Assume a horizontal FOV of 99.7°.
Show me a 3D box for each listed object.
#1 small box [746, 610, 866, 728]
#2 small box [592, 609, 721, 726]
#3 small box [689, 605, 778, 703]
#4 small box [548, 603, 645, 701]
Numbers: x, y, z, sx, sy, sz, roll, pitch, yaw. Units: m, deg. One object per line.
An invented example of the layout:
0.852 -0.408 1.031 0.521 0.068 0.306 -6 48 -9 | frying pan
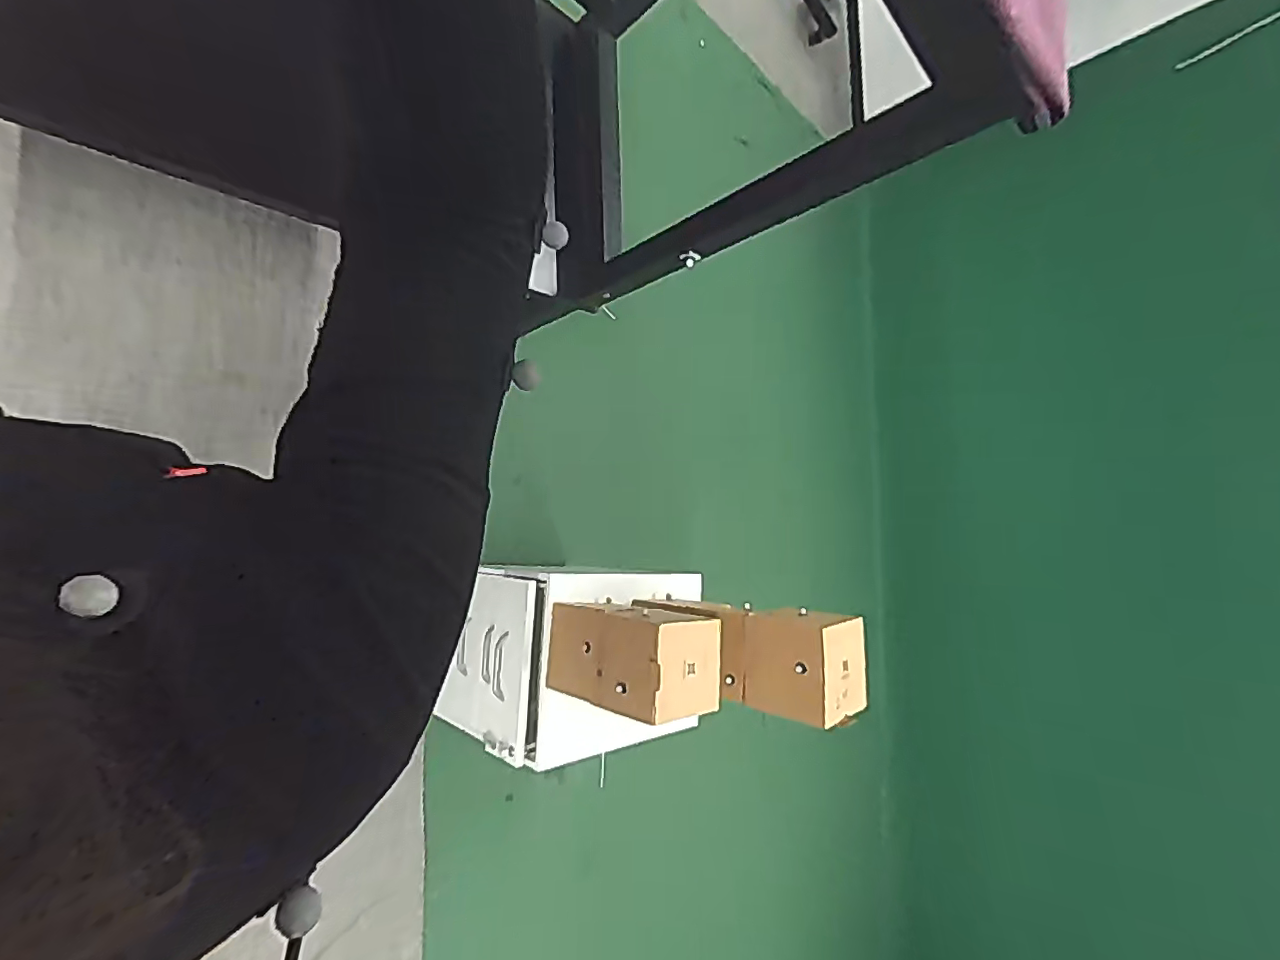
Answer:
0.319 0.351 1.048 0.168 0.176 0.179 4 84 -44 | small box
0.030 0.332 0.993 0.179 0.176 0.168 9 81 -45 | small box
0.207 0.366 1.167 0.168 0.176 0.179 14 77 -44 | small box
-0.072 0.350 1.119 0.168 0.176 0.179 14 77 -44 | small box
